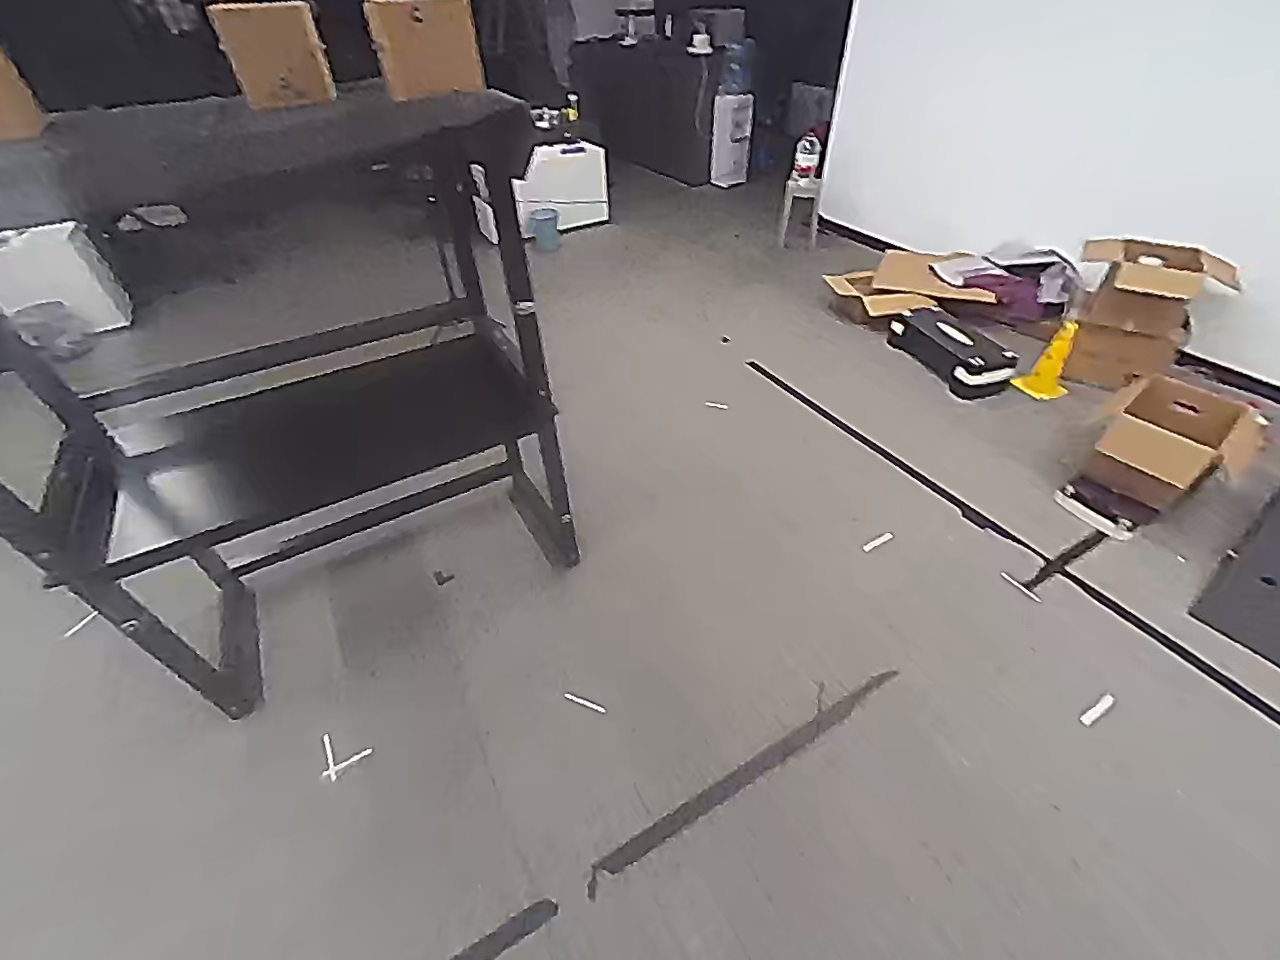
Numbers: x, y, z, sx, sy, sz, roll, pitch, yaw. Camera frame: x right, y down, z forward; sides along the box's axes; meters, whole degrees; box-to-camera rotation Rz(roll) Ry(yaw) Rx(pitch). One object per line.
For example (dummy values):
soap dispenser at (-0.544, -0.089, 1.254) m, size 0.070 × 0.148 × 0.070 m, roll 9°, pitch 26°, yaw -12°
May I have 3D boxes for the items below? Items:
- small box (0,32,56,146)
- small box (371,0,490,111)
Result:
small box at (-1.221, -0.710, 0.973) m, size 0.168 × 0.176 × 0.179 m, roll -24°, pitch 48°, yaw -22°
small box at (-0.424, -0.867, 1.104) m, size 0.168 × 0.176 × 0.179 m, roll -22°, pitch 45°, yaw -19°
